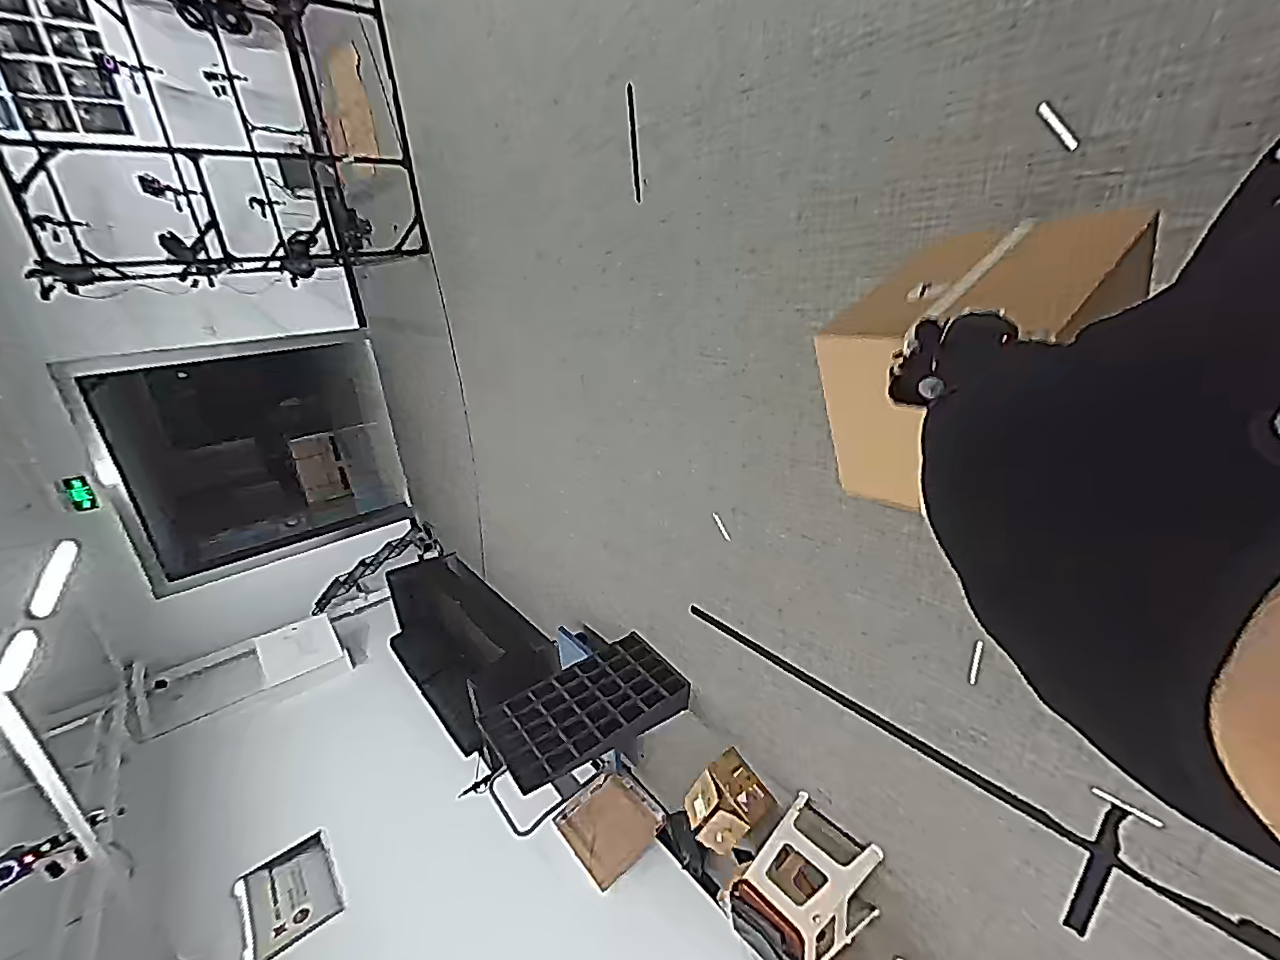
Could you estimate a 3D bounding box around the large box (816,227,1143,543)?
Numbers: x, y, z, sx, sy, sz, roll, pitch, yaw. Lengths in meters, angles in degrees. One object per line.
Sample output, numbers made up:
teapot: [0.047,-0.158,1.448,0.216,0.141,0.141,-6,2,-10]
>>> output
large box: [0.554,-0.167,0.885,0.320,0.408,0.320,16,137,50]
